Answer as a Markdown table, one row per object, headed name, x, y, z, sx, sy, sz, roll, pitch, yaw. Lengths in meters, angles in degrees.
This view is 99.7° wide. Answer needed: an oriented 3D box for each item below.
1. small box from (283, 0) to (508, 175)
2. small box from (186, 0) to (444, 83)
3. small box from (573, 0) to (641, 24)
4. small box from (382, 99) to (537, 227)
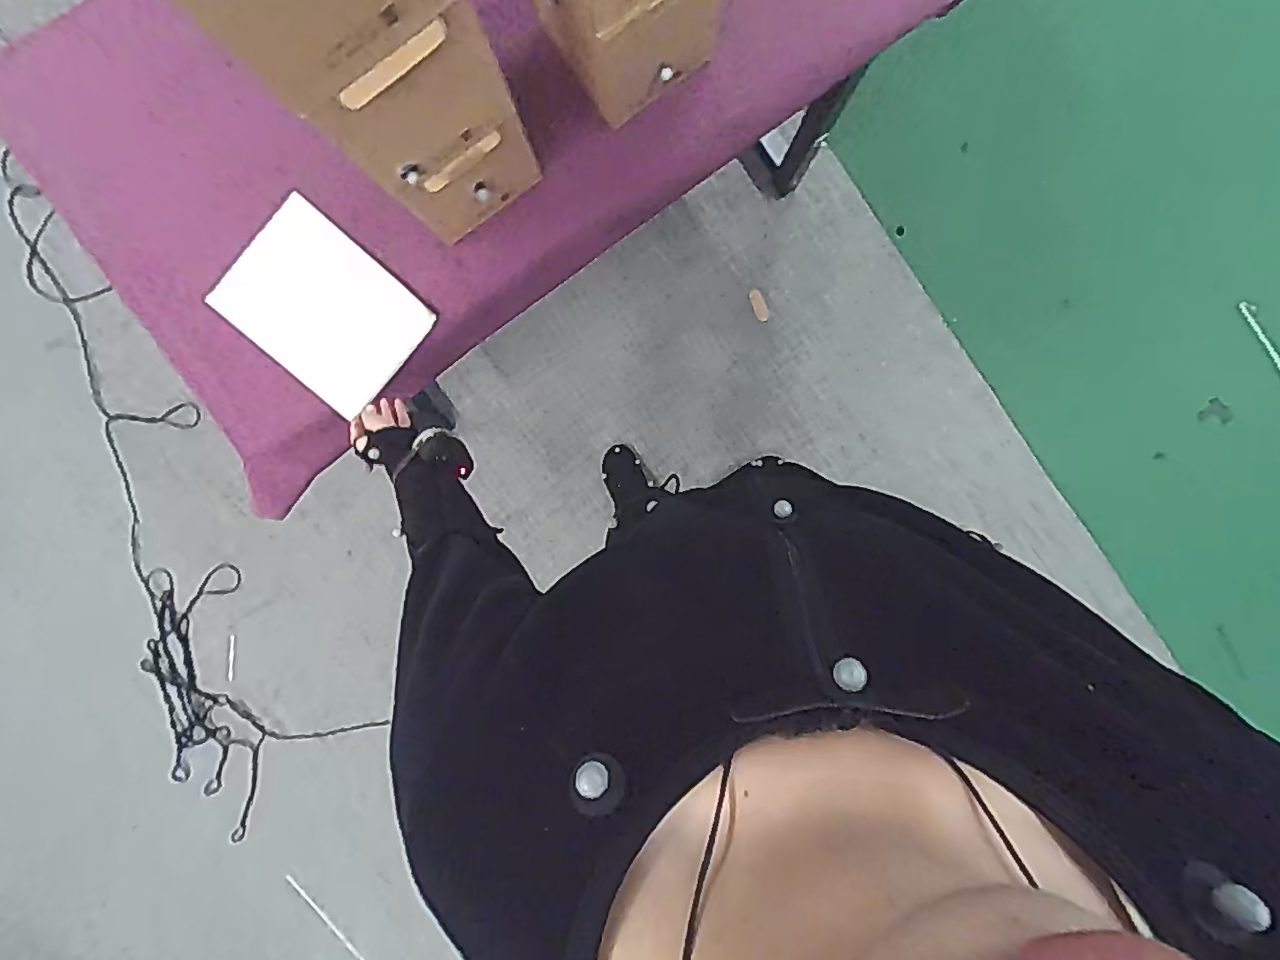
| name | x | y | z | sx | sy | sz | roll | pitch | yaw |
| --- | --- | --- | --- | --- | --- | --- | --- | --- | --- |
| small box | -0.250 | -0.425 | 0.506 | 0.168 | 0.176 | 0.179 | -34 | 93 | 4 |
| small box | -0.251 | -0.405 | 0.344 | 0.168 | 0.176 | 0.179 | -33 | 93 | 3 |
| small box | -0.031 | -0.585 | 0.487 | 0.168 | 0.176 | 0.179 | -34 | 93 | 4 |
| small box | -0.251 | -0.445 | 0.670 | 0.168 | 0.176 | 0.179 | -34 | 94 | 4 |
